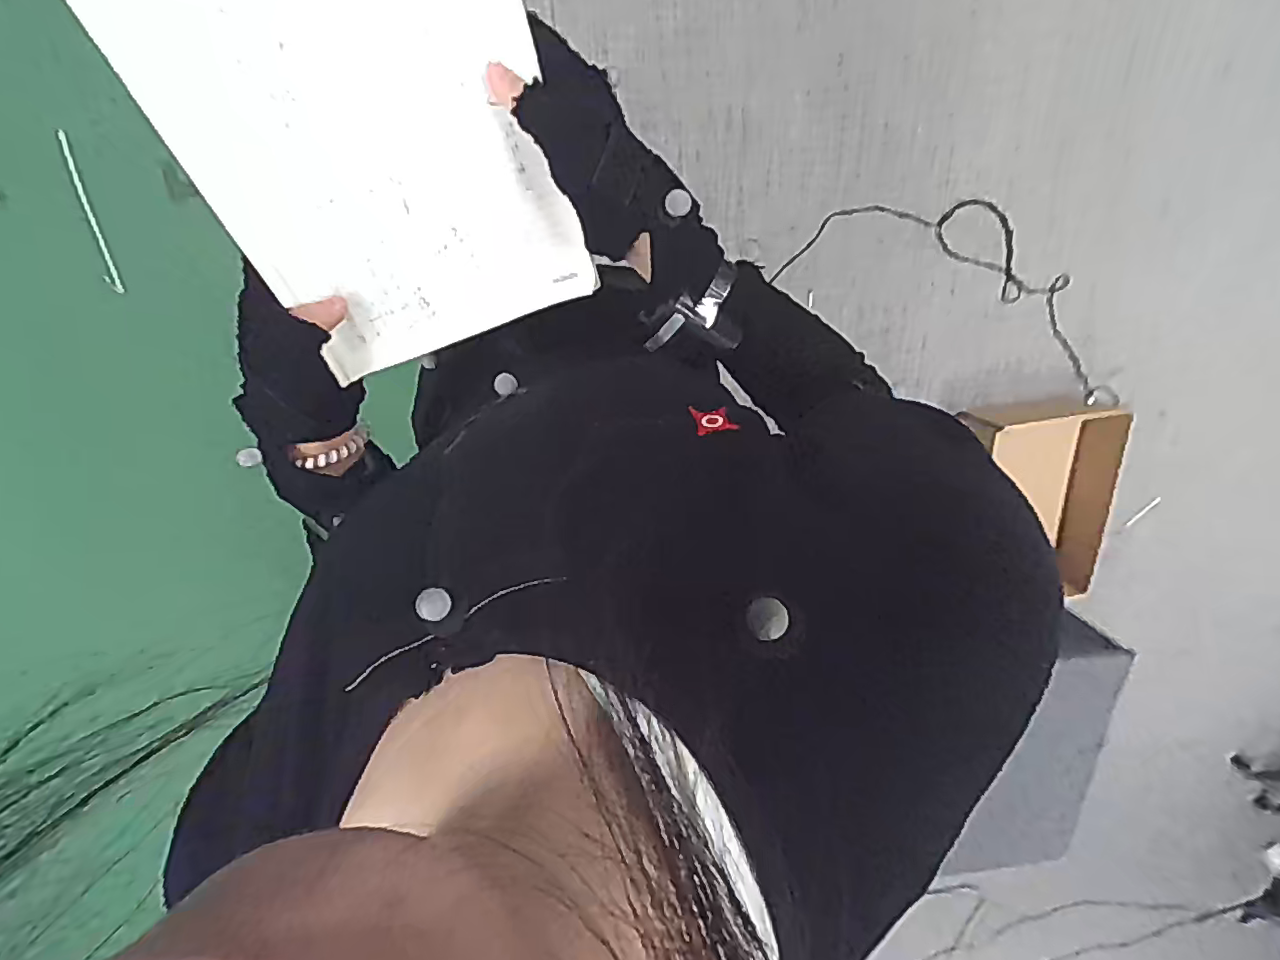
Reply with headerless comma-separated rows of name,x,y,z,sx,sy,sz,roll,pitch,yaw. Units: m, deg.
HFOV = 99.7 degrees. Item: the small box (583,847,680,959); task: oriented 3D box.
small box,-0.021,0.833,1.016,0.168,0.176,0.179,-3,111,-6
